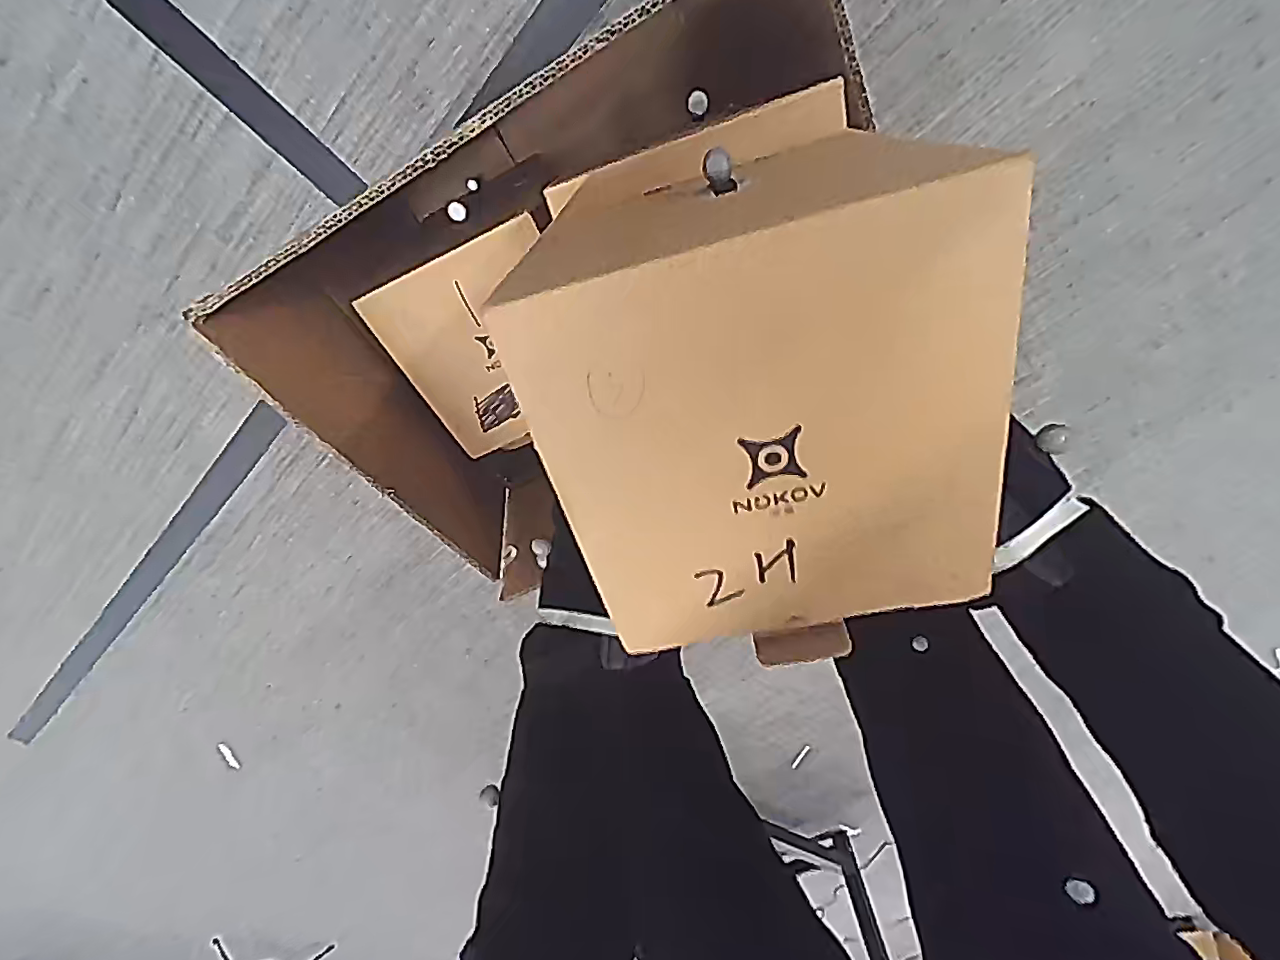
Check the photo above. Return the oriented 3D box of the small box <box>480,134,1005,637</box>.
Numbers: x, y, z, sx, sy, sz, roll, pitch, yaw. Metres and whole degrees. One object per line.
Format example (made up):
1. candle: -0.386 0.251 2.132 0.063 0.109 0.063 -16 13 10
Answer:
1. small box: 0.047 -0.053 0.273 0.168 0.176 0.179 -12 123 10
